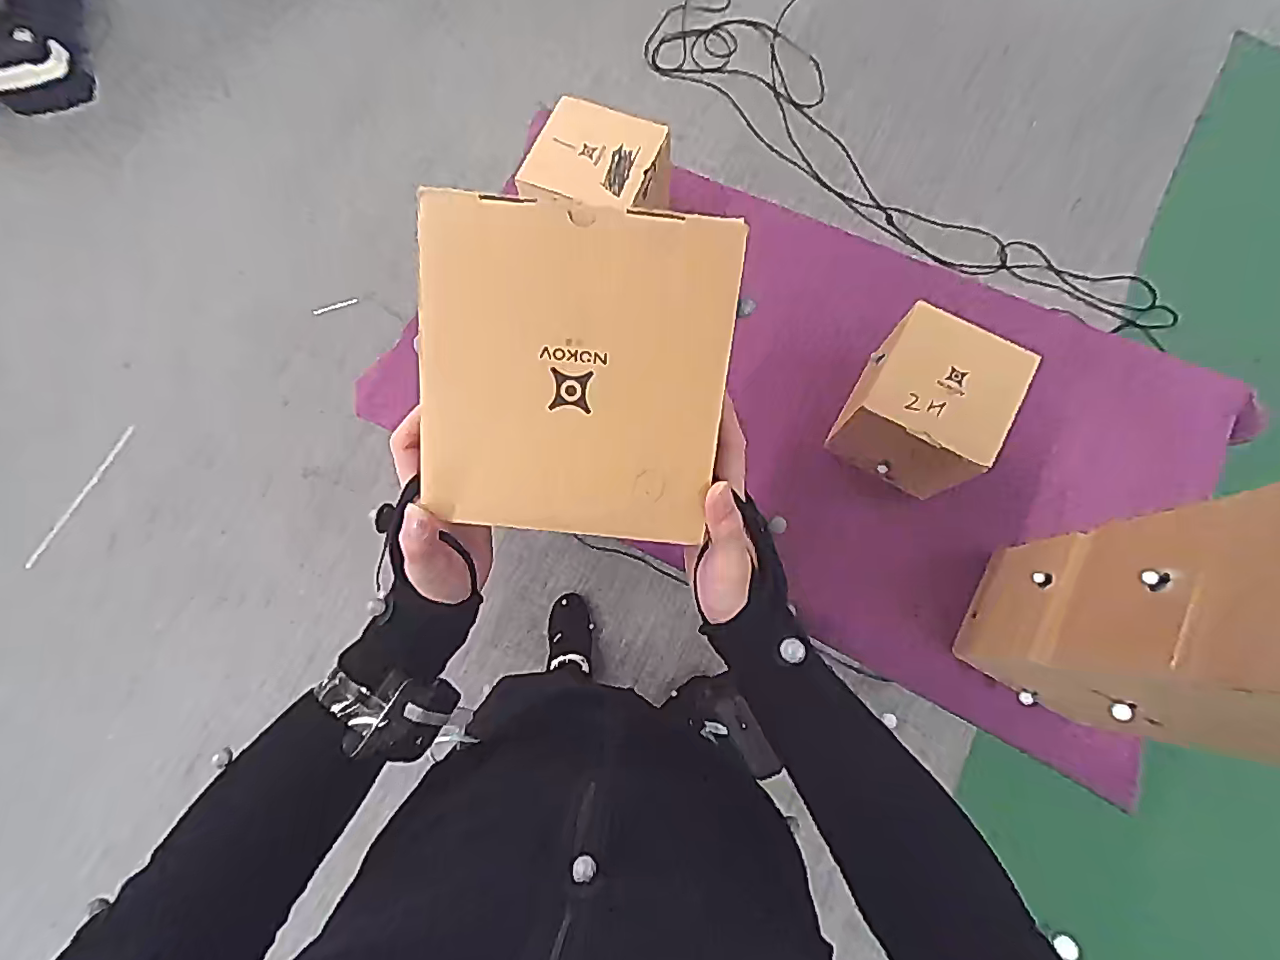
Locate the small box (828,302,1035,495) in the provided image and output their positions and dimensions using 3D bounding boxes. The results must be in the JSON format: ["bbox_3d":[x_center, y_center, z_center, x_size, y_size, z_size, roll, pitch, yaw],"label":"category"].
[{"bbox_3d":[0.389,-0.103,0.754,0.168,0.176,0.179,30,79,9],"label":"small box"}]

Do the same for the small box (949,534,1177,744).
[{"bbox_3d":[0.536,0.189,0.674,0.179,0.176,0.168,30,77,9],"label":"small box"}]

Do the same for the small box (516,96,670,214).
[{"bbox_3d":[-0.063,-0.445,0.851,0.179,0.176,0.168,23,77,7],"label":"small box"}]

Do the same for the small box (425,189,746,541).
[{"bbox_3d":[-0.033,-0.076,0.371,0.168,0.176,0.179,6,105,0],"label":"small box"}]

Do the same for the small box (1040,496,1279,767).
[{"bbox_3d":[0.535,0.145,0.517,0.168,0.176,0.179,30,78,10],"label":"small box"}]
